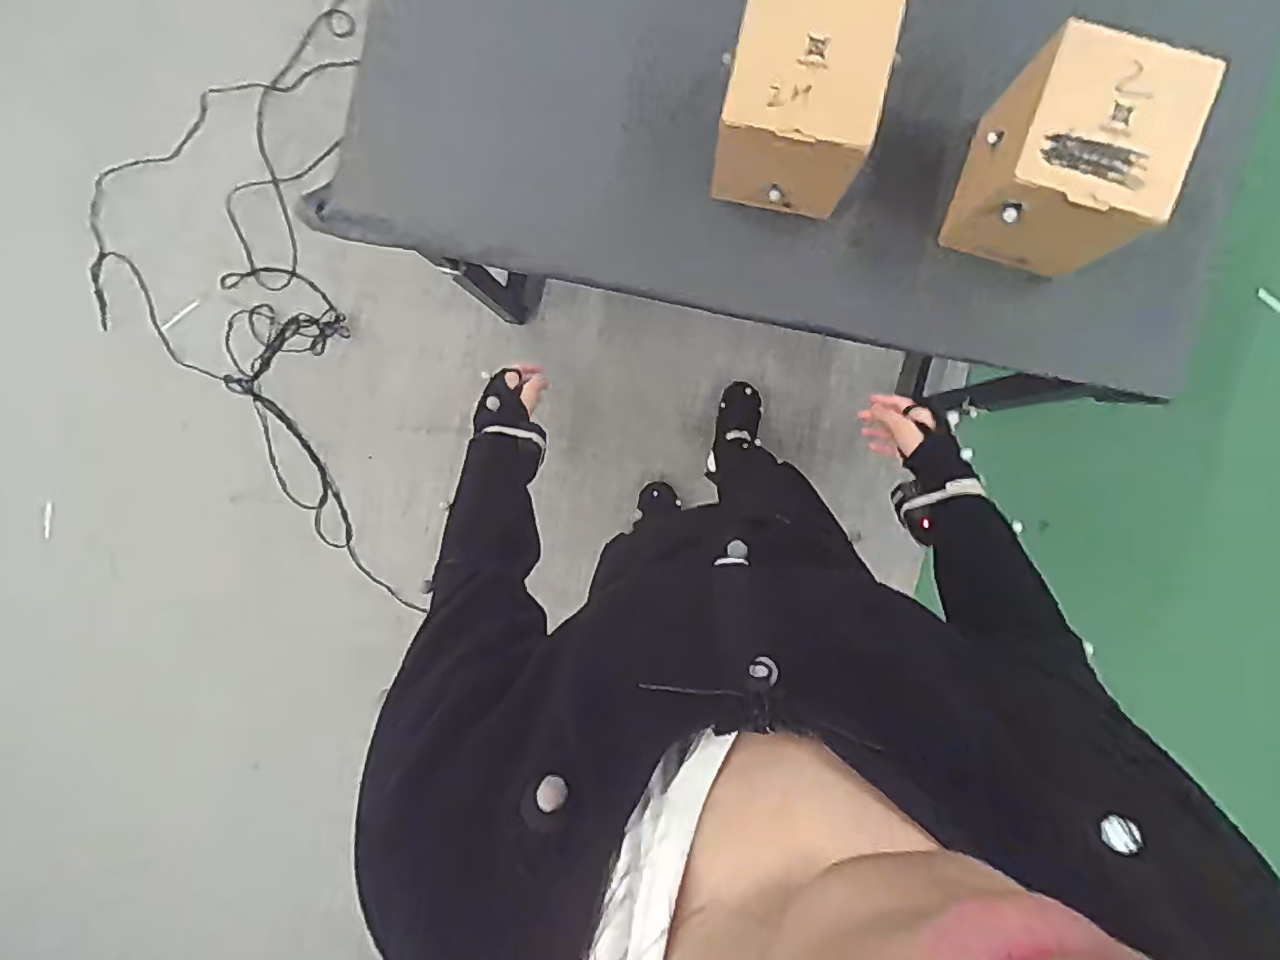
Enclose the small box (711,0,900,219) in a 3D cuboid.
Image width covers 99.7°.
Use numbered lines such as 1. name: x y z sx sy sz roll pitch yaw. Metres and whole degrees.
1. small box: 0.187 -0.457 0.664 0.168 0.176 0.179 13 92 3
